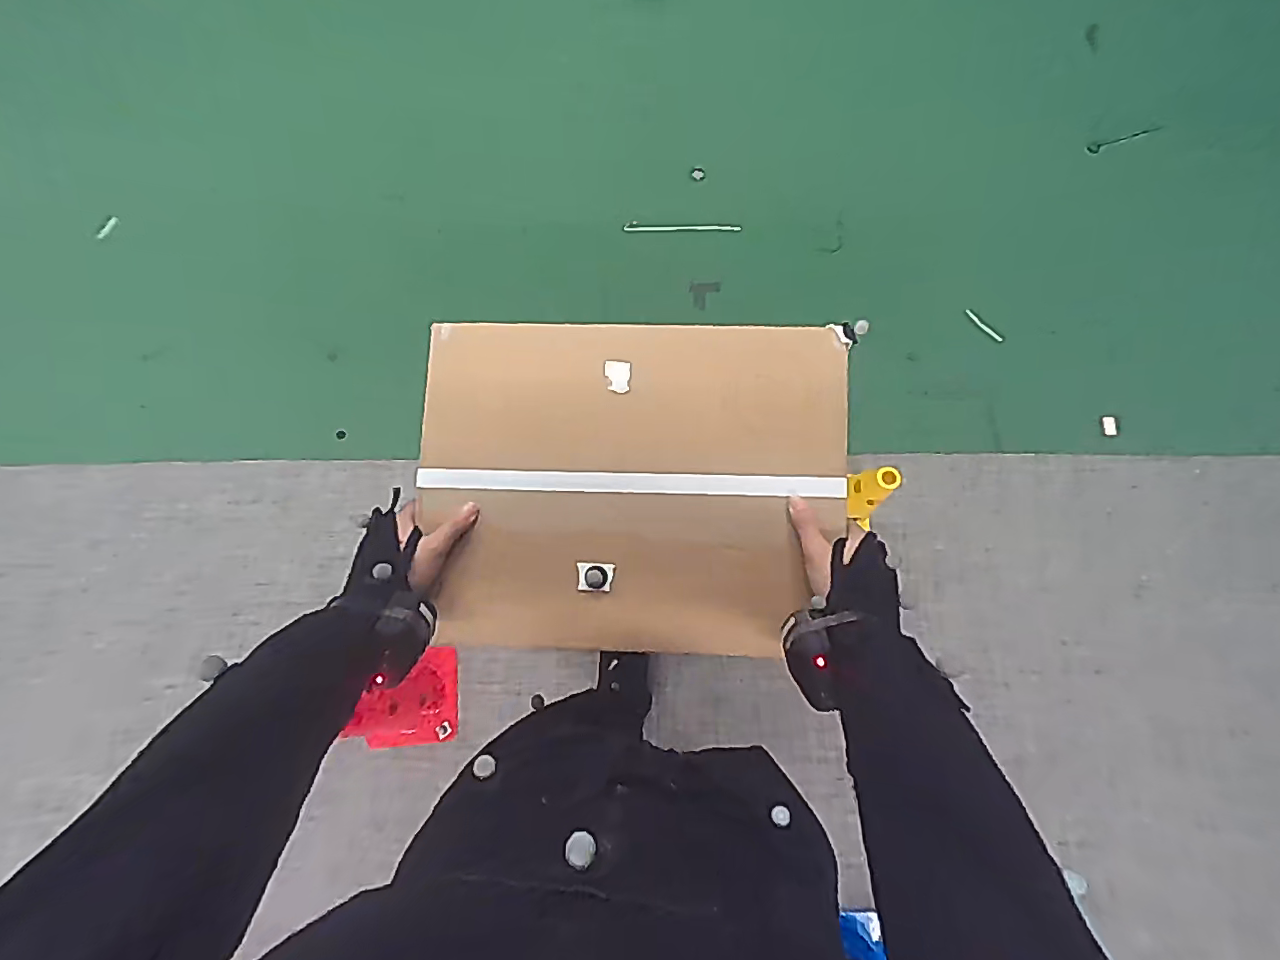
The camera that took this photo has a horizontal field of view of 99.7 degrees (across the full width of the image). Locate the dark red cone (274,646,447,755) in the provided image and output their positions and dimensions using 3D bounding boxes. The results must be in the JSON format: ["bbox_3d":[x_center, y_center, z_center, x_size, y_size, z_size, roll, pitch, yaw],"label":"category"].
[{"bbox_3d":[-0.517,0.417,0.995,0.202,0.394,0.201,-8,72,0],"label":"dark red cone"}]

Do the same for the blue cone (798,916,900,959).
[{"bbox_3d":[0.394,0.898,0.868,0.192,0.380,0.193,0,75,2],"label":"blue cone"}]
